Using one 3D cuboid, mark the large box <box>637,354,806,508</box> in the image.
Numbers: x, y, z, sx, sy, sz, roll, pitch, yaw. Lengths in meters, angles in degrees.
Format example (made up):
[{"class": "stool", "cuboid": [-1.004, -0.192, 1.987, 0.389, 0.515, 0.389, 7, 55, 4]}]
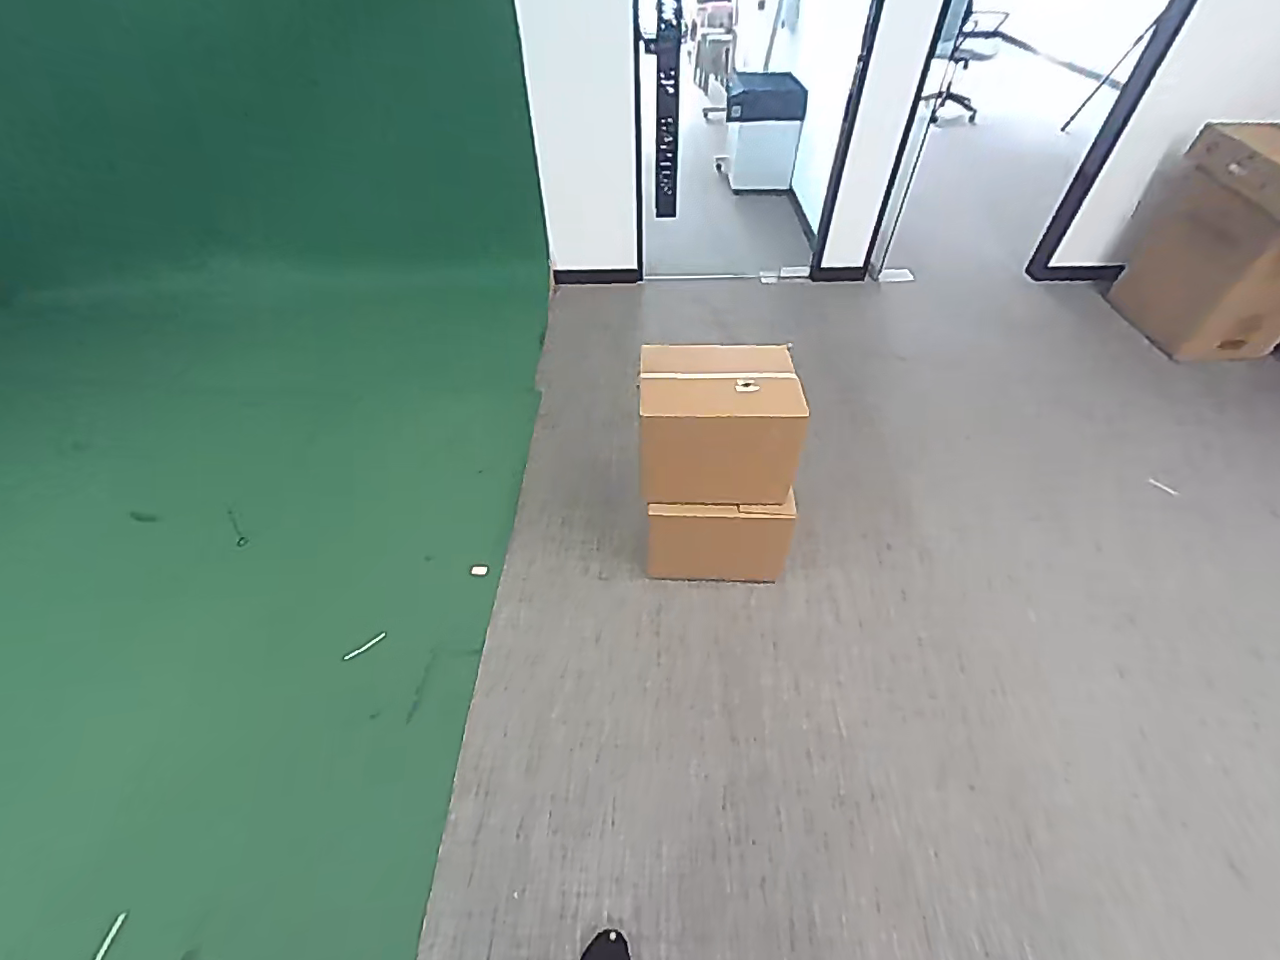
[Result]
[{"class": "large box", "cuboid": [0.194, -0.134, 1.482, 0.408, 0.320, 0.320, 1, 44, 1]}]
